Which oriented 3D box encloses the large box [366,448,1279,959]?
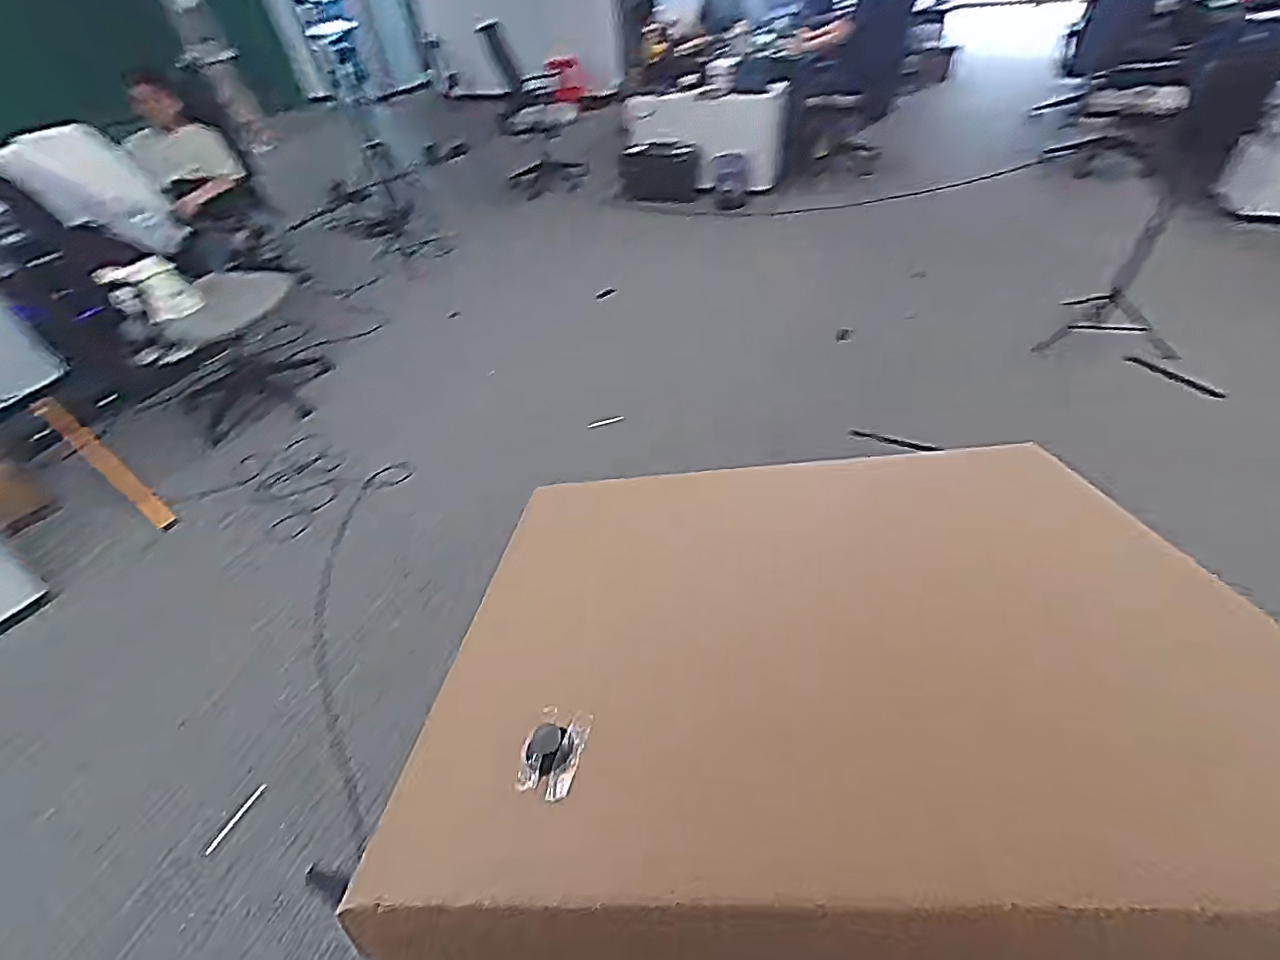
[{"bbox_3d":[0.112,0.195,0.390,0.408,0.320,0.320,-6,29,6],"label":"large box"}]
